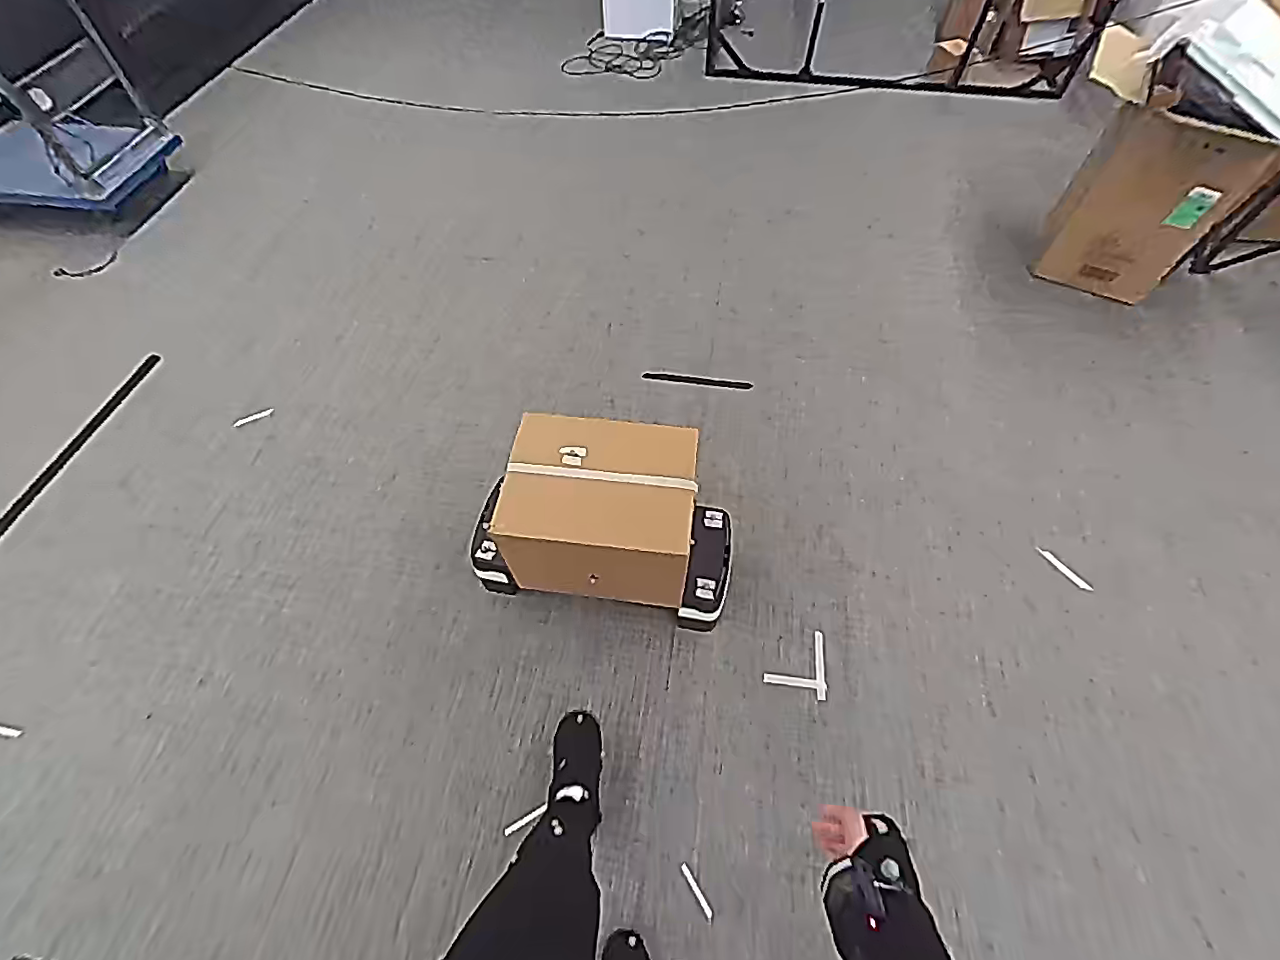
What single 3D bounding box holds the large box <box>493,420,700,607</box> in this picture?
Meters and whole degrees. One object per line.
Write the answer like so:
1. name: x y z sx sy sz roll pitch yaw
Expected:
1. large box: -0.074 0.086 1.259 0.408 0.320 0.320 6 57 5
